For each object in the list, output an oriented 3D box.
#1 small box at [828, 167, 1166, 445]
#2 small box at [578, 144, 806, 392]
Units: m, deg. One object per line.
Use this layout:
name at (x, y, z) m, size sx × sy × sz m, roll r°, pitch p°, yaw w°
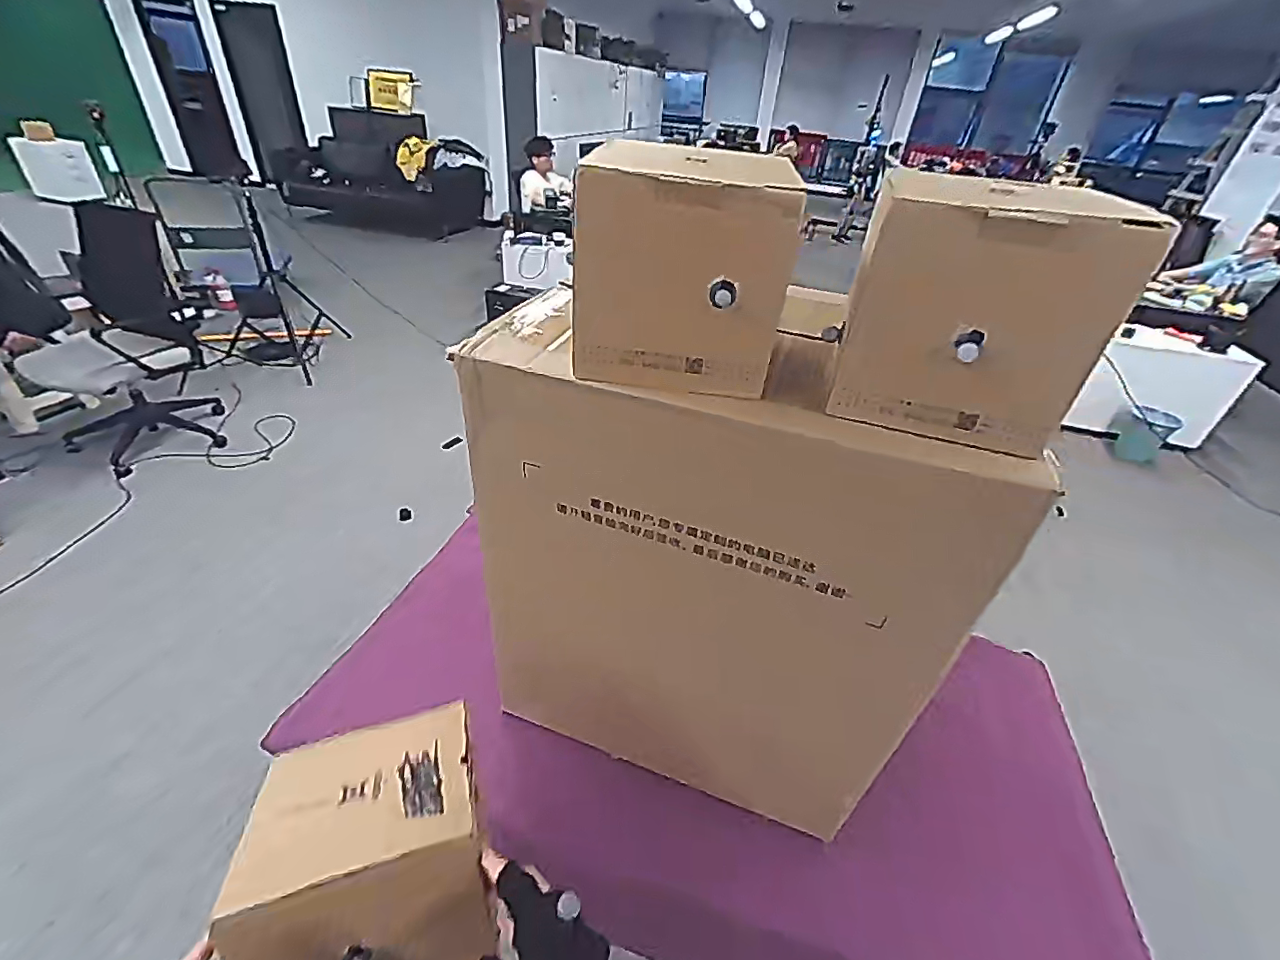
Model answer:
small box at (0.266, -0.151, 0.456) m, size 0.168 × 0.176 × 0.179 m, roll 15°, pitch 38°, yaw 13°
small box at (0.041, -0.195, 0.495) m, size 0.168 × 0.176 × 0.179 m, roll 8°, pitch 36°, yaw 2°
